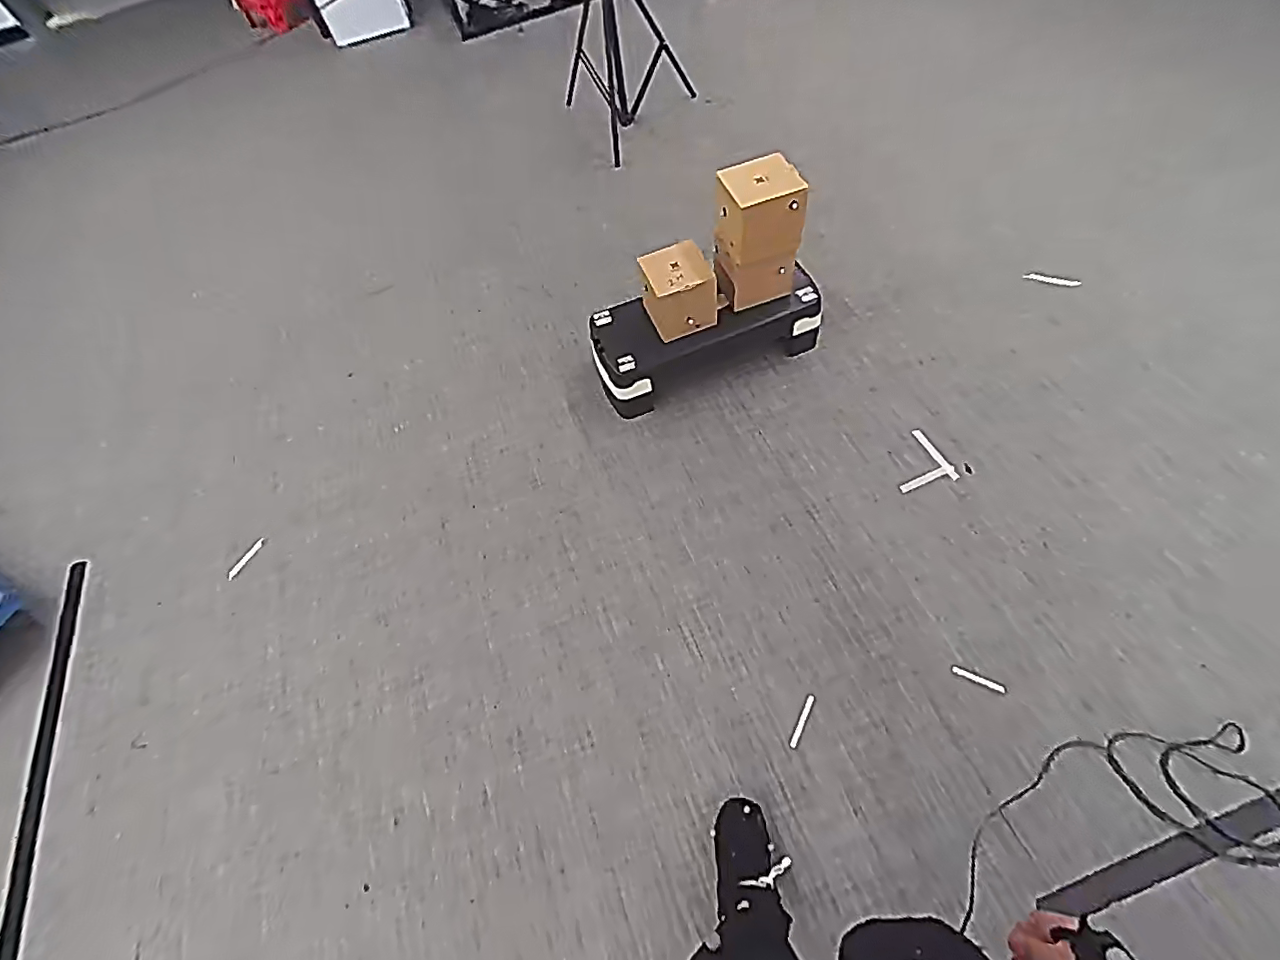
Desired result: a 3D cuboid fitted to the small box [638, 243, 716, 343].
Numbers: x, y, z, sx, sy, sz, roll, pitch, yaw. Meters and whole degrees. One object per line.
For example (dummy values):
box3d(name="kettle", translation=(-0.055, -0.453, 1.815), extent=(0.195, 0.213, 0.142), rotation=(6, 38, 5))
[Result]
box3d(name="small box", translation=(0.104, -0.519, 1.511), extent=(0.168, 0.176, 0.179), rotation=(-21, 60, -3))

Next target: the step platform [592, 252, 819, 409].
box3d(name="step platform", translation=(0.197, -0.479, 1.676), extent=(0.684, 0.204, 0.286), rotation=(-22, 60, -4))

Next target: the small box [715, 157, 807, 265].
box3d(name="small box", translation=(0.303, -0.683, 1.386), extent=(0.179, 0.176, 0.168), rotation=(-19, 60, -3))
